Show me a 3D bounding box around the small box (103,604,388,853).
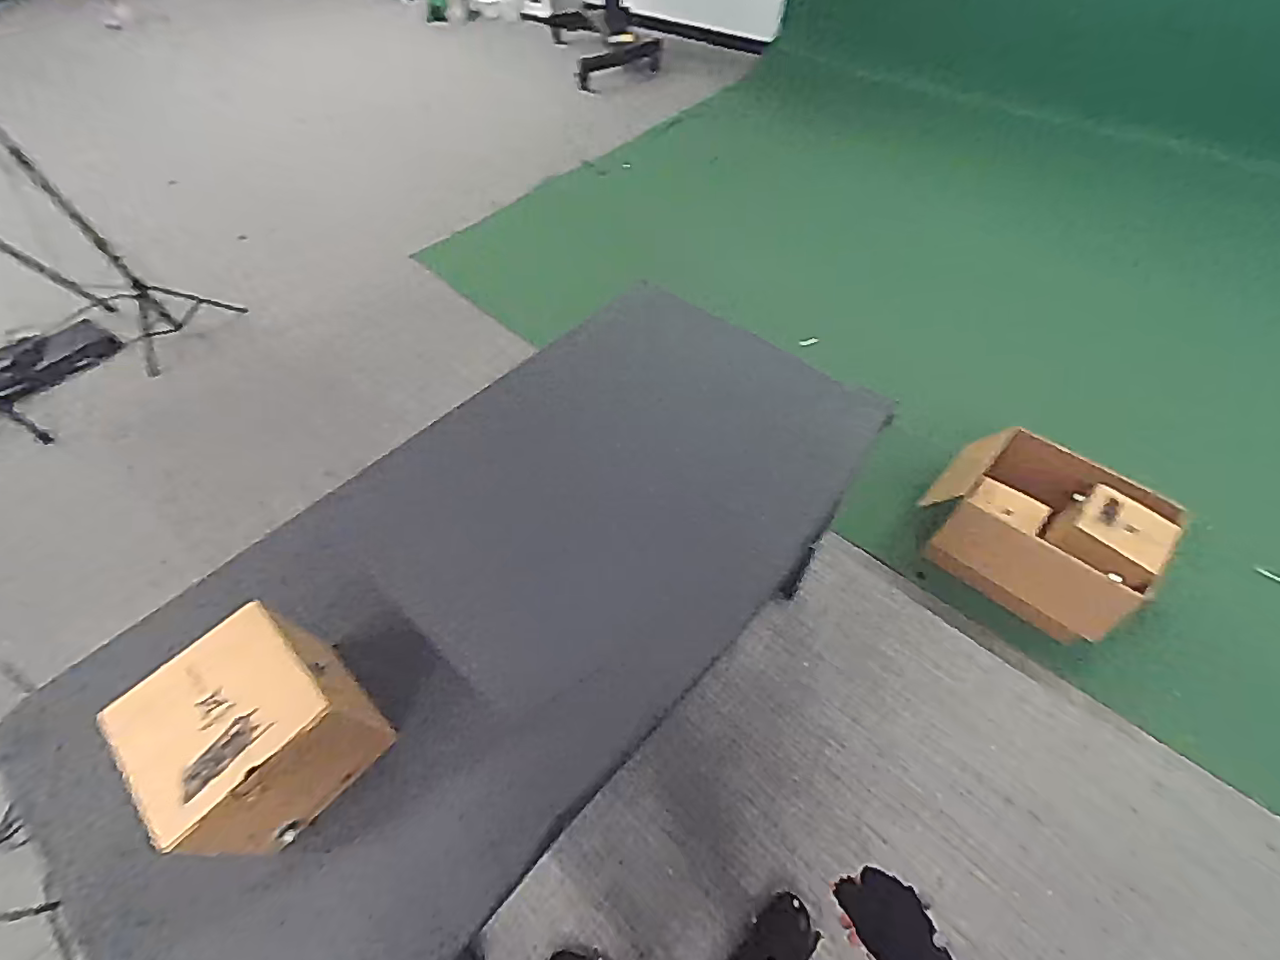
[{"bbox_3d":[-0.423,0.278,0.608,0.179,0.176,0.168,35,63,25],"label":"small box"}]
